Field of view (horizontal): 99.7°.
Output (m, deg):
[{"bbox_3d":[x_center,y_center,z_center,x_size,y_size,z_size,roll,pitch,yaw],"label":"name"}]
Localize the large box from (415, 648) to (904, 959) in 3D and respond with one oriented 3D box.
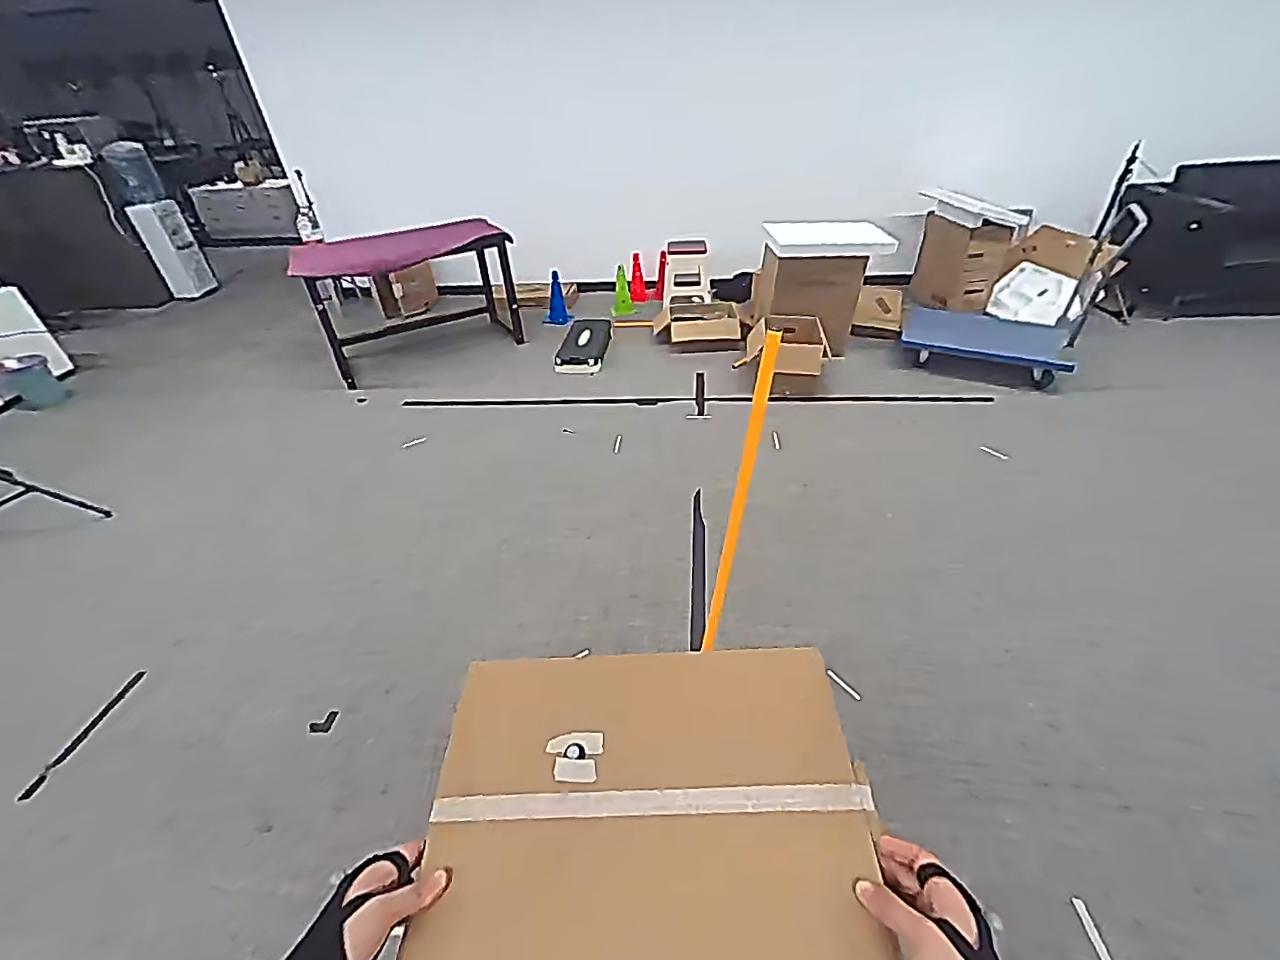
[{"bbox_3d":[0.026,0.422,0.616,0.408,0.320,0.320,-5,41,5],"label":"large box"}]
